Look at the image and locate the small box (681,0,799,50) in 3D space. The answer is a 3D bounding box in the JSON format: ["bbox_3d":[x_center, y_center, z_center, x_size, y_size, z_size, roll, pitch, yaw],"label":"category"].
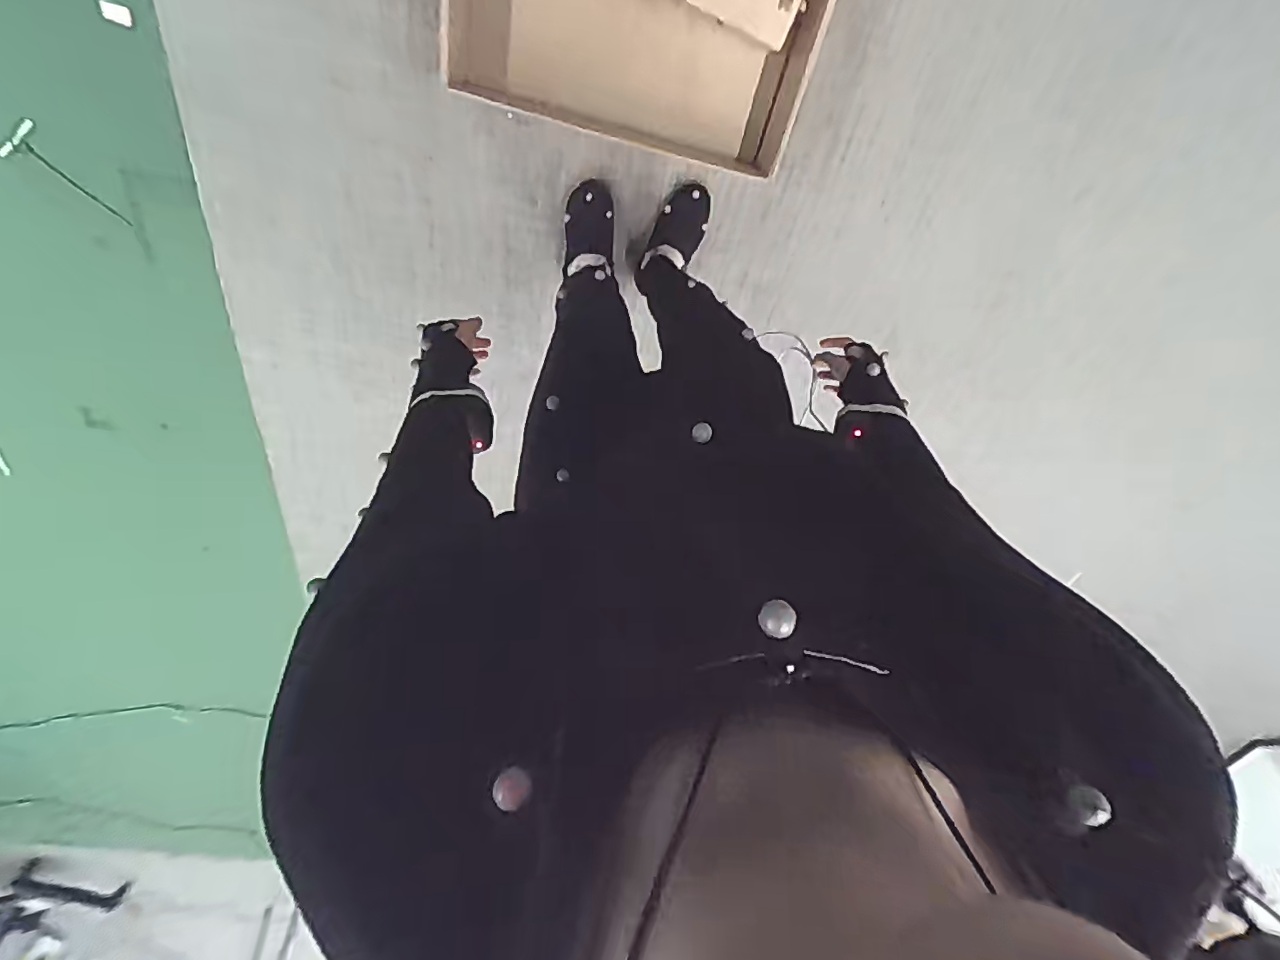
[{"bbox_3d":[0.175,-0.832,0.880,0.179,0.176,0.168,19,126,-12],"label":"small box"}]
